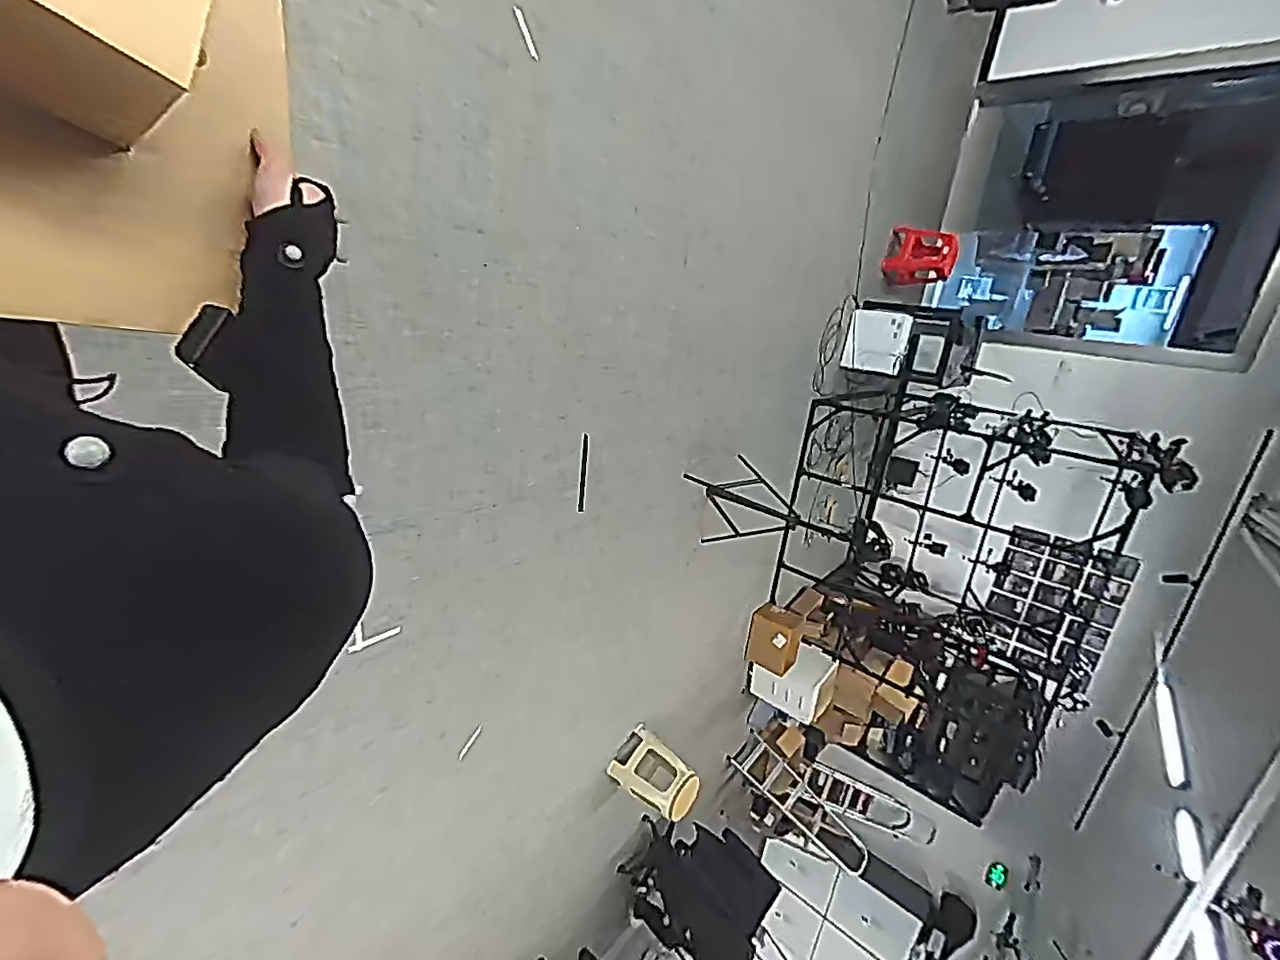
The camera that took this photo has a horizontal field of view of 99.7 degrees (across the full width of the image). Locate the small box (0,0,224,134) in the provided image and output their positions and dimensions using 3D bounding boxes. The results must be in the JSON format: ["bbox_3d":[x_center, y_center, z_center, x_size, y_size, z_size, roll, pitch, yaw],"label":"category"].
[{"bbox_3d":[-0.393,-0.358,0.344,0.179,0.176,0.168,14,86,-53],"label":"small box"}]
